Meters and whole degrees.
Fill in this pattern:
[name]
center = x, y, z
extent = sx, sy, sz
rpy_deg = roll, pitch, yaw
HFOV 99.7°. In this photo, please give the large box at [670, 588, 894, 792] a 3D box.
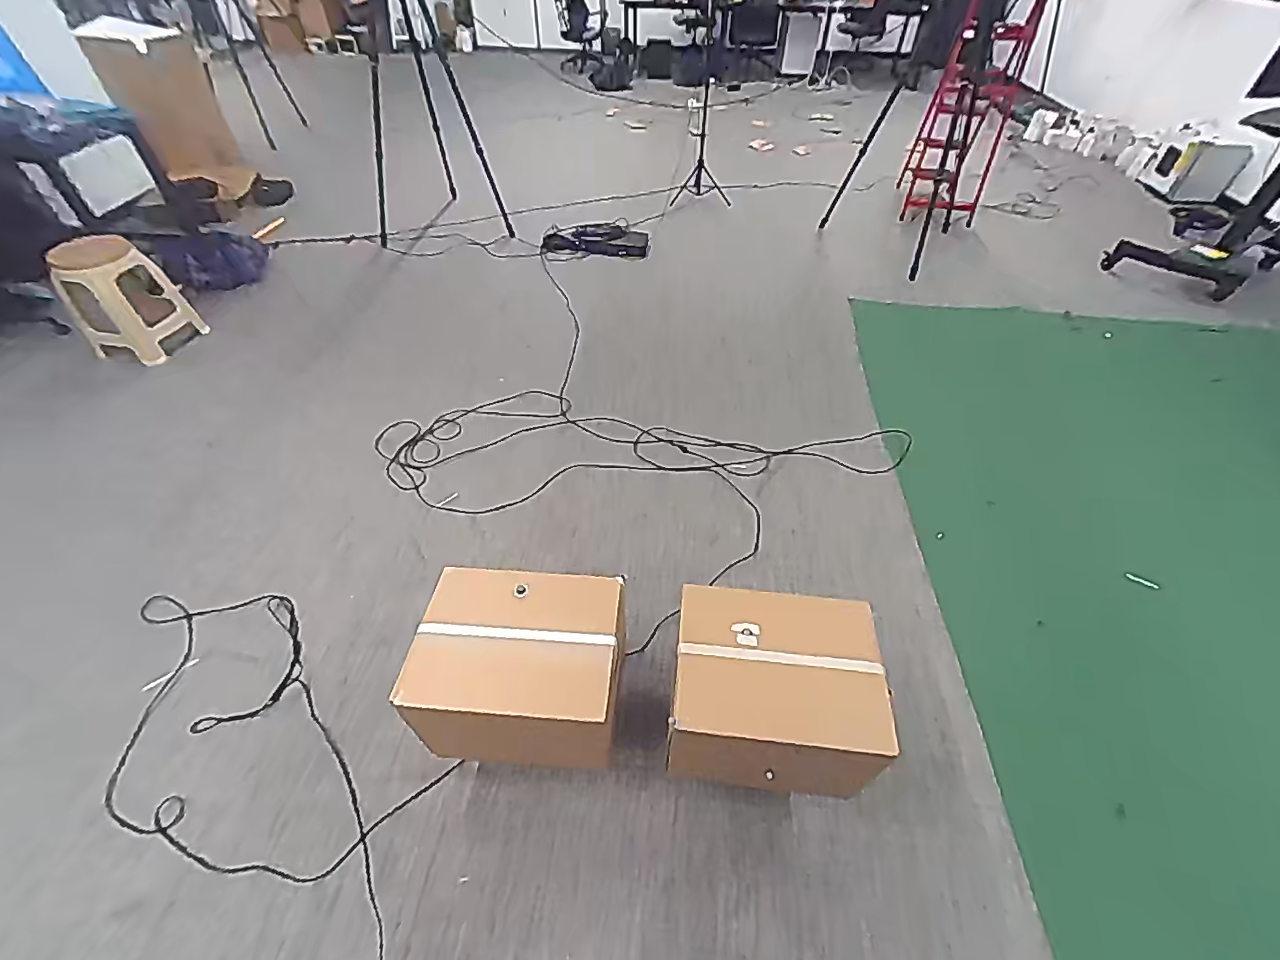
[large box]
center = 0.281, 0.467, 1.195
extent = 0.408, 0.320, 0.320
rpy_deg = 5, 47, 5
